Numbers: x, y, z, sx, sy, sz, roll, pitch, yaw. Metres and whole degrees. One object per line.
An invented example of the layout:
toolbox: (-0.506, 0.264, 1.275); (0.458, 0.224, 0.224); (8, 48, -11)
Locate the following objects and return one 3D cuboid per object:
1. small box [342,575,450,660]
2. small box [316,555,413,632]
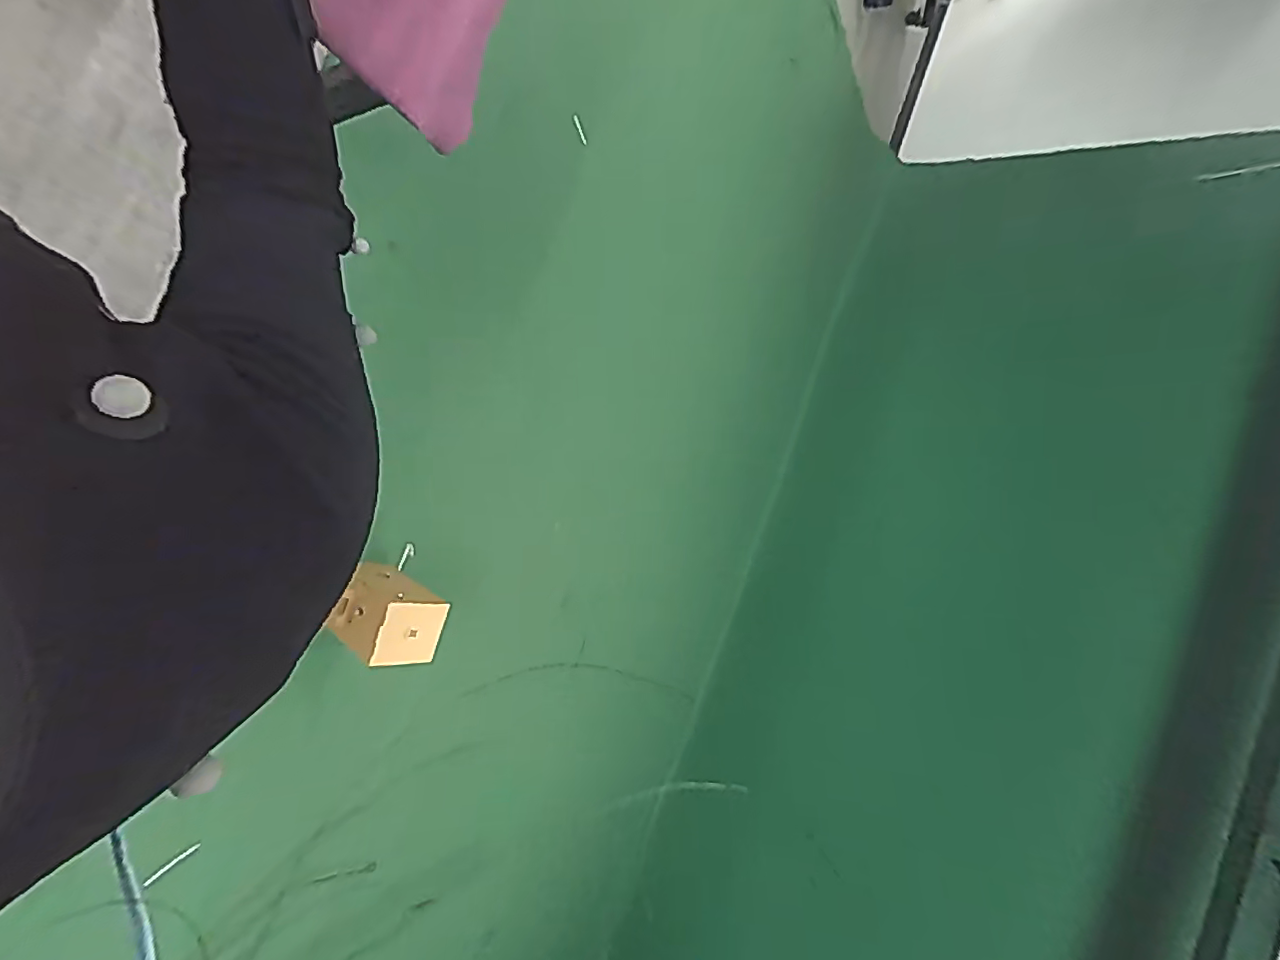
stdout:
small box: (-0.646, 0.358, 1.431); (0.179, 0.176, 0.168); (19, 90, -53)
small box: (-0.771, 0.320, 1.527); (0.179, 0.176, 0.168); (22, 86, -53)
